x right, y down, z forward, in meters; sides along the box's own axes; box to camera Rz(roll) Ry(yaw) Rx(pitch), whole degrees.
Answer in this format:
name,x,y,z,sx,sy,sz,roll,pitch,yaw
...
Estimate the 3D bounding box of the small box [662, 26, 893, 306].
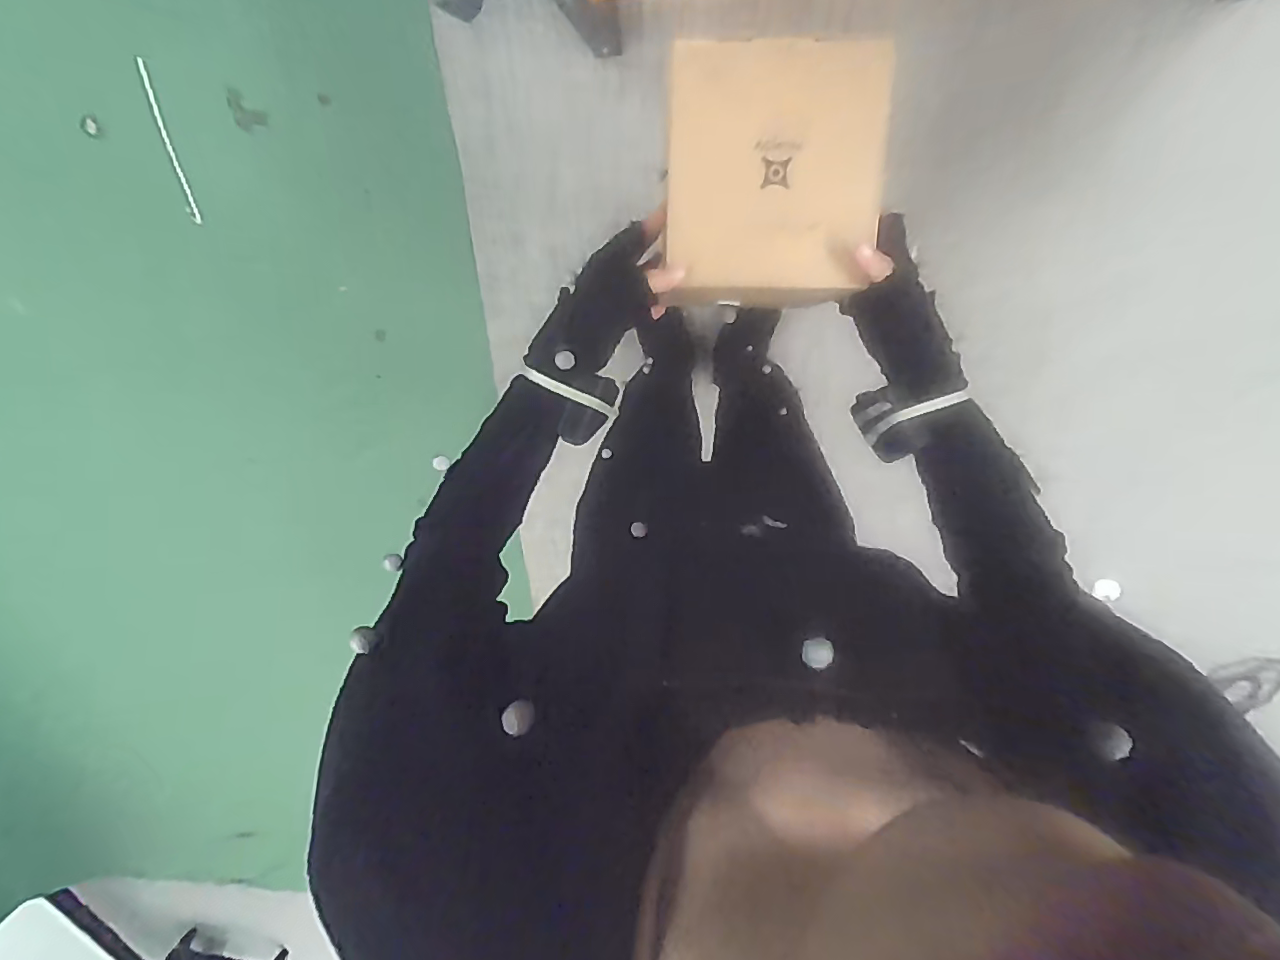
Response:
name,x,y,z,sx,sy,sz,roll,pitch,yaw
small box,0.105,-0.260,0.488,0.168,0.176,0.179,1,102,2
